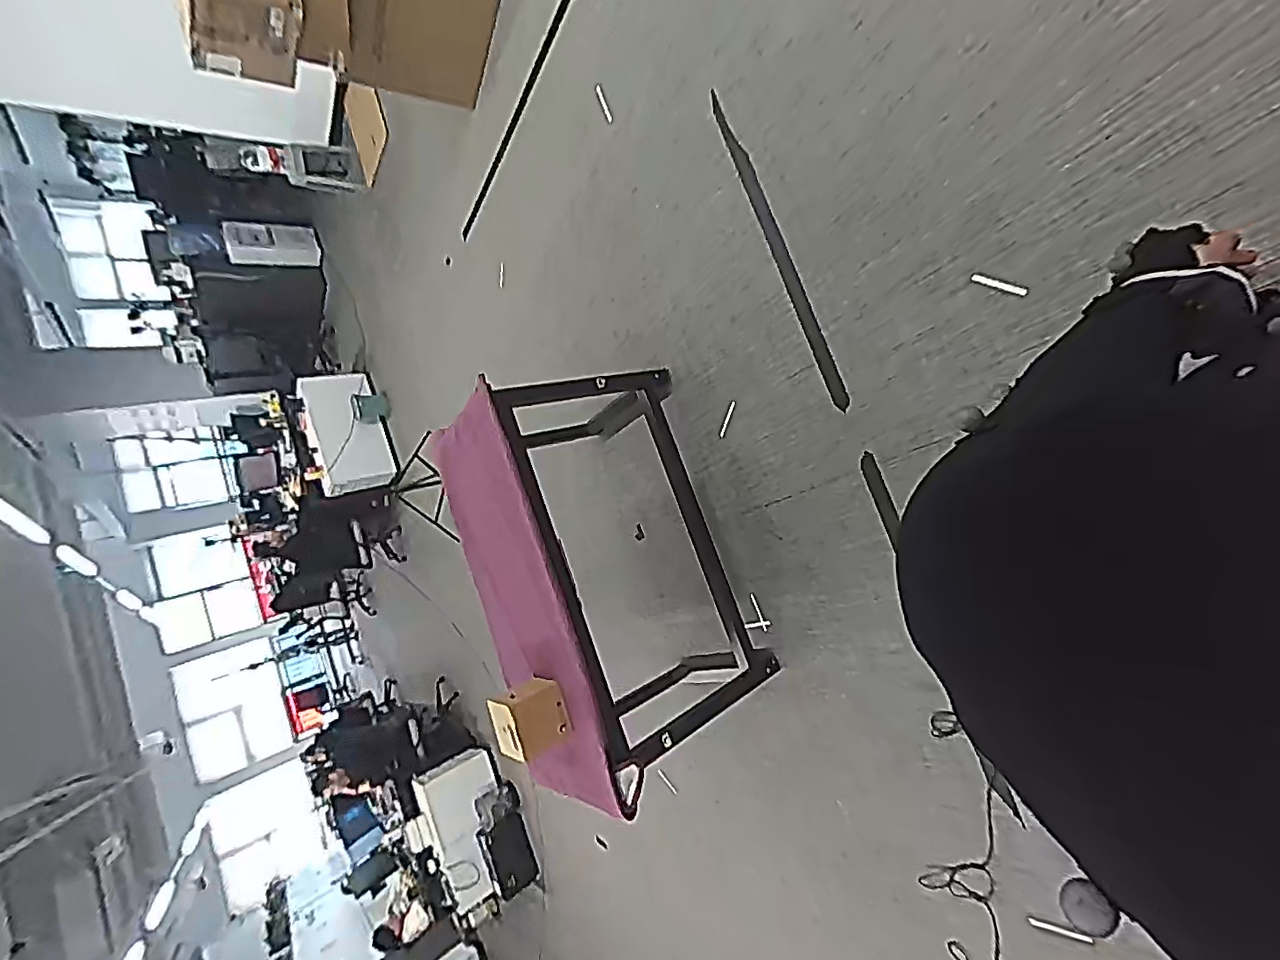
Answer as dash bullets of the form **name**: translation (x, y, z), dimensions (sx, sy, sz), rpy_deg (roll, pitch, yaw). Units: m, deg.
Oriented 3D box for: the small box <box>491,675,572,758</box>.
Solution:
- **small box**: translation (-0.322, 0.706, 1.638), dimensions (0.179, 0.176, 0.168), rpy_deg (-19, 86, 52)
